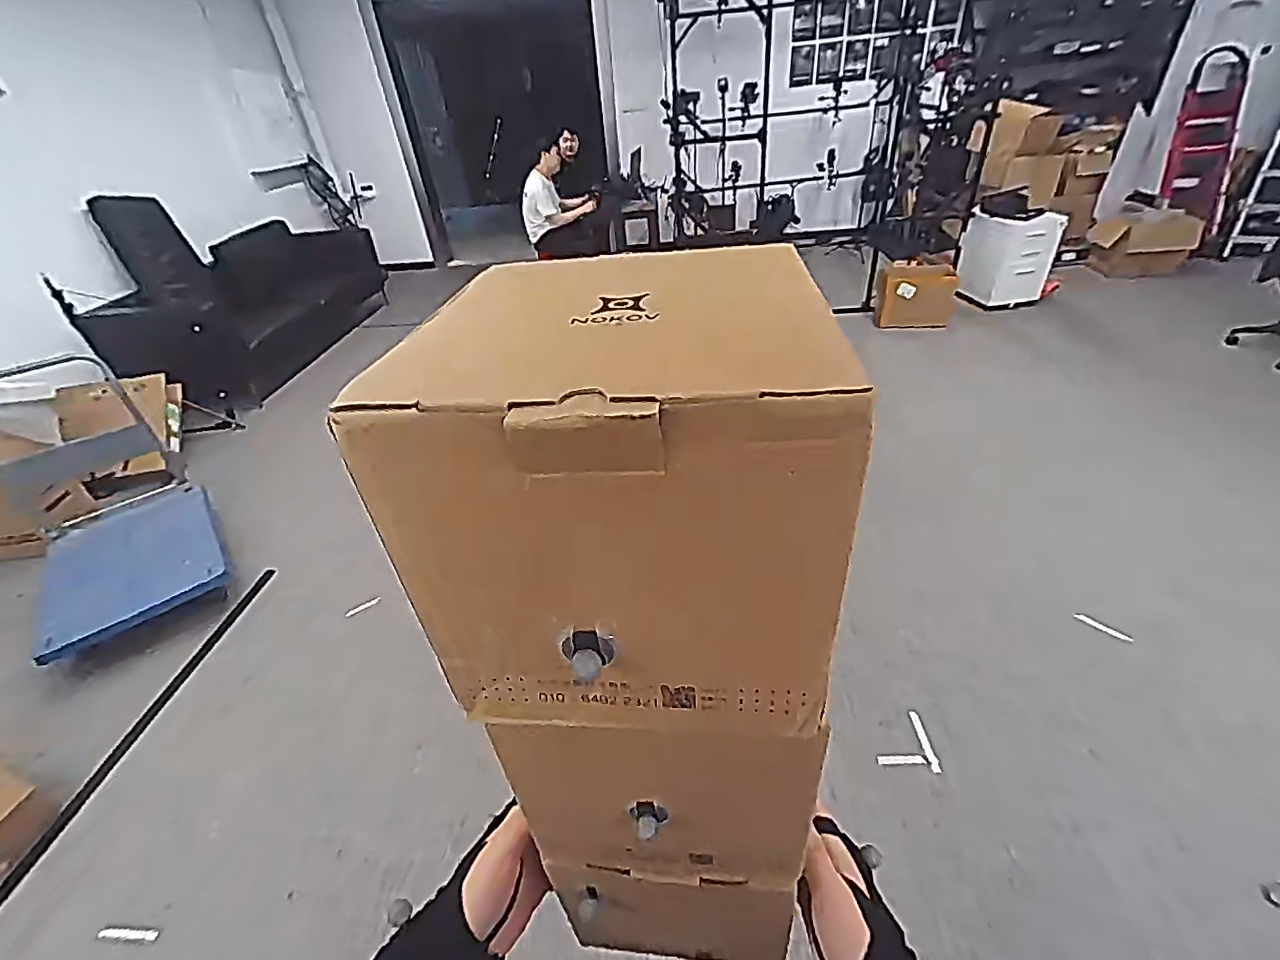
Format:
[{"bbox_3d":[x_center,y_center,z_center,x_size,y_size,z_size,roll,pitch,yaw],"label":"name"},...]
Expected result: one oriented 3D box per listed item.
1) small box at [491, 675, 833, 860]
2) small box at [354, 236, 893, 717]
[{"bbox_3d":[0.023,0.122,0.362,0.168,0.176,0.179,-1,34,7],"label":"small box"},{"bbox_3d":[0.004,-0.012,0.271,0.168,0.176,0.179,-2,35,7],"label":"small box"}]
